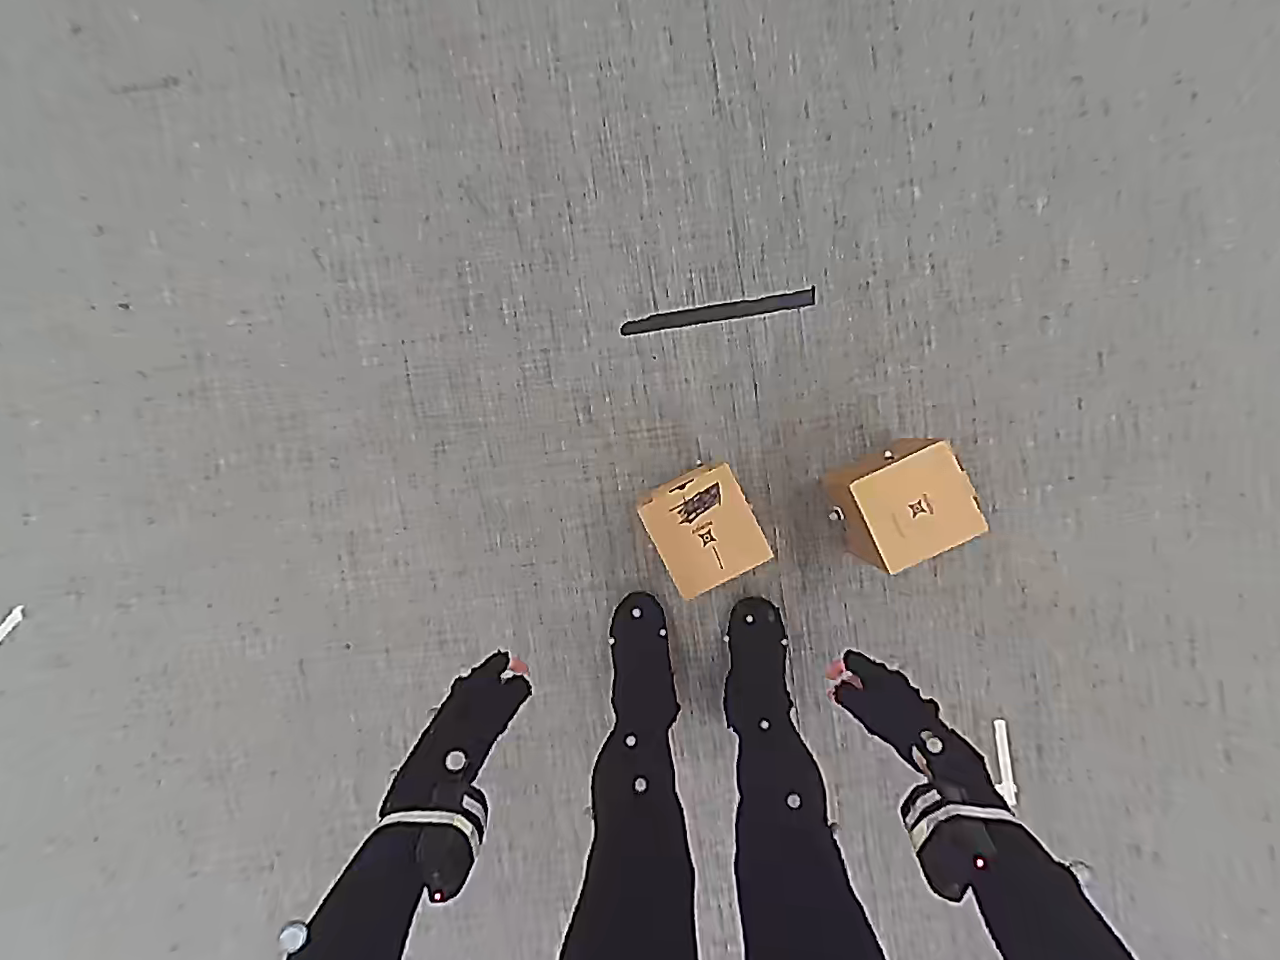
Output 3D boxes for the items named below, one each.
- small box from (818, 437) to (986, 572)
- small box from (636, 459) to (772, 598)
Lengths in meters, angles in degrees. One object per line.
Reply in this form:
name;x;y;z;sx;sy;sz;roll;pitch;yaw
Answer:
small box;0.440;0.034;0.936;0.179;0.176;0.168;-27;92;3
small box;0.103;0.075;0.943;0.168;0.176;0.179;-27;93;3
